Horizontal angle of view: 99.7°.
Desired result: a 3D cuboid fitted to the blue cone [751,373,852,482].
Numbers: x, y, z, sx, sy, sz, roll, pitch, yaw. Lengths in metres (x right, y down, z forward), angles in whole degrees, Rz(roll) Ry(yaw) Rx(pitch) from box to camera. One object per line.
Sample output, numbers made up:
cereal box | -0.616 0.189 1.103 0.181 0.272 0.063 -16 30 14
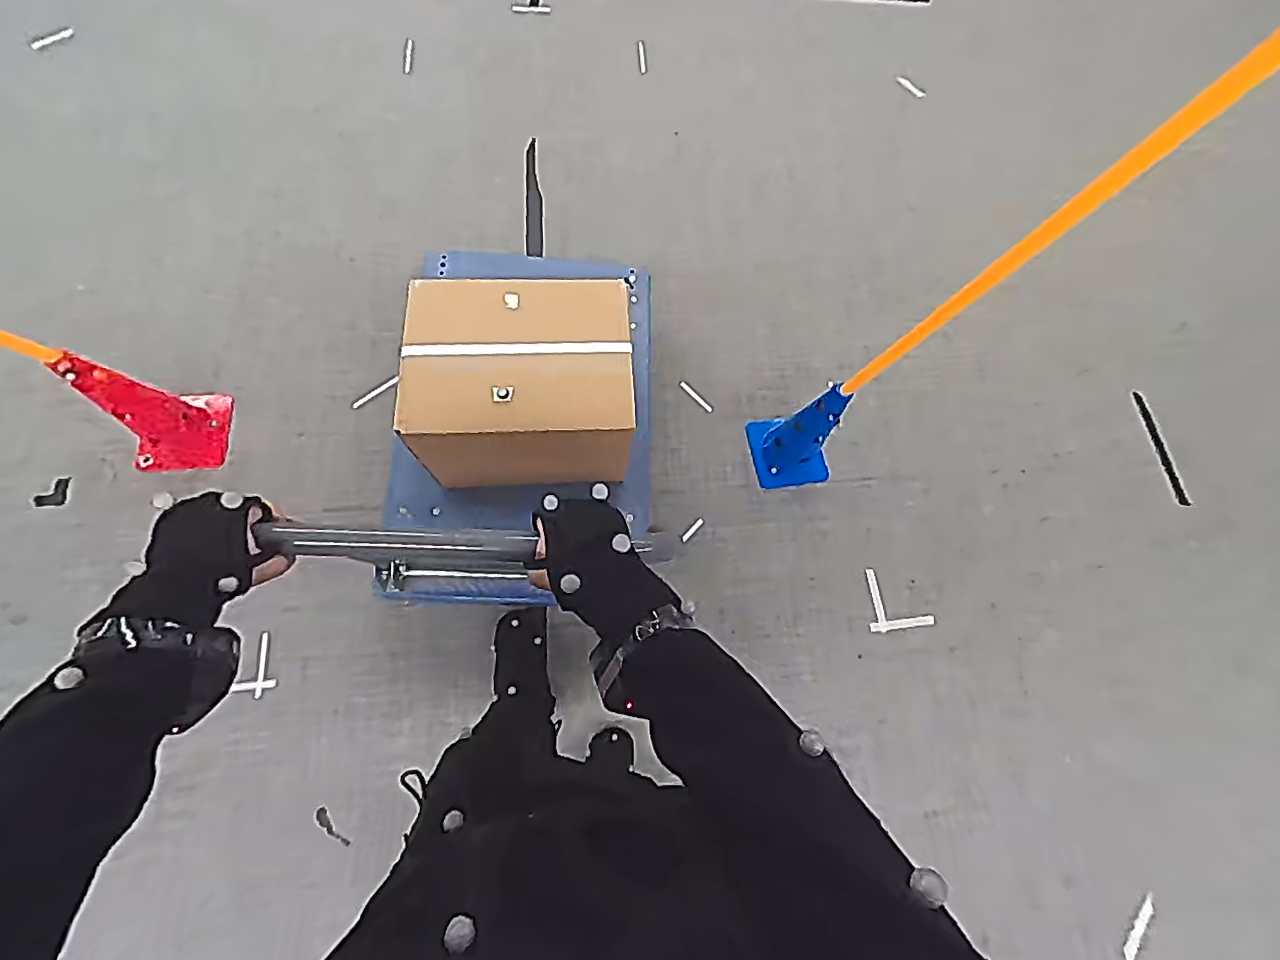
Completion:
blue cone | 0.425 -0.144 1.330 0.193 0.380 0.192 -6 71 -8
